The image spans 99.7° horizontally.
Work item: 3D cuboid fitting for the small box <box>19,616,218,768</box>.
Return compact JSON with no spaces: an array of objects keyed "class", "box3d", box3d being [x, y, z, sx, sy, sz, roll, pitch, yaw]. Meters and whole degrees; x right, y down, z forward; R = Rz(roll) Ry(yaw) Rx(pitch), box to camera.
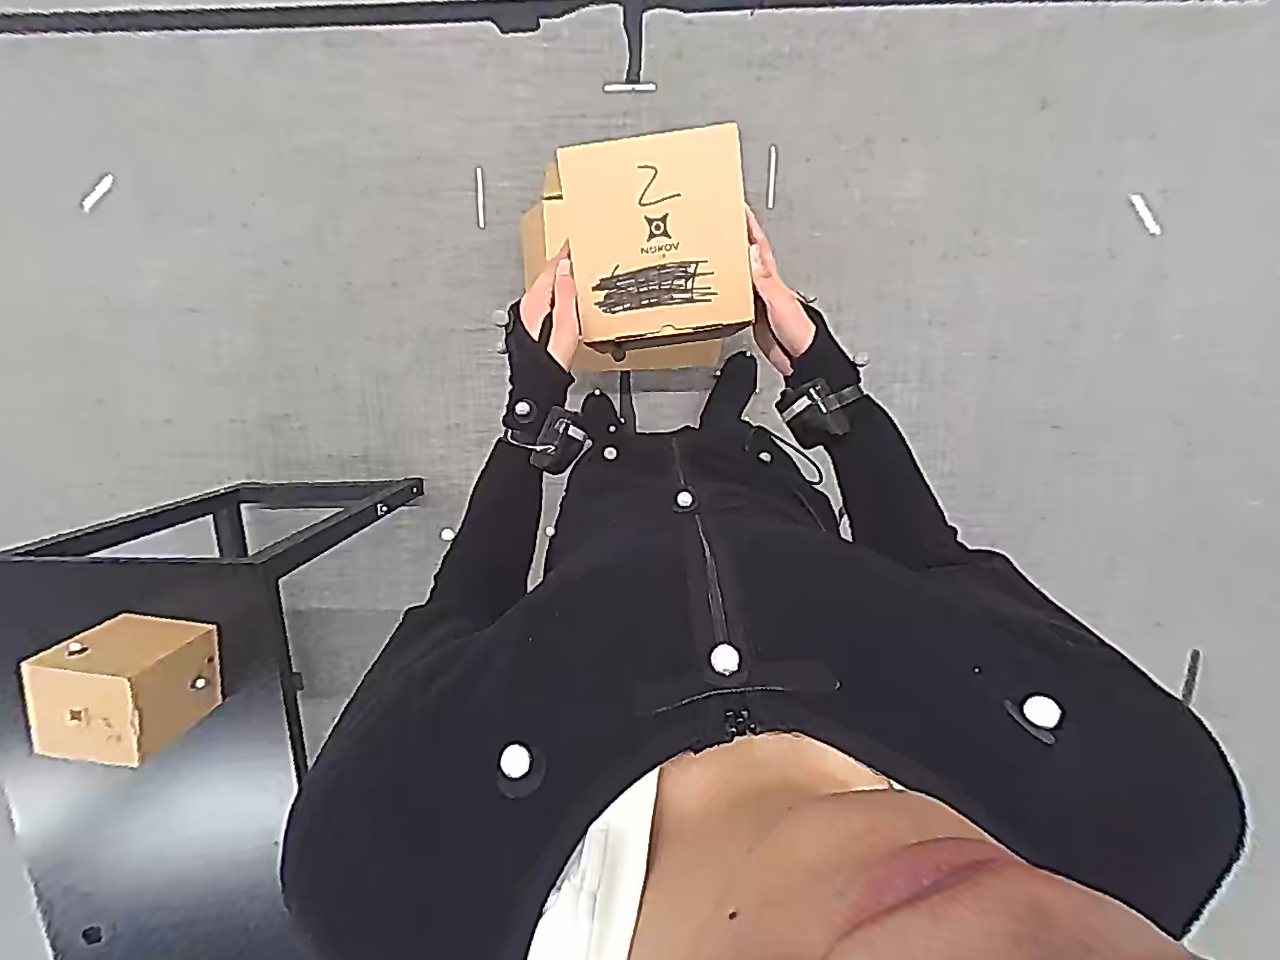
[{"class":"small box","box3d":[-0.870,0.349,0.919,0.179,0.176,0.168,8,104,0]}]
